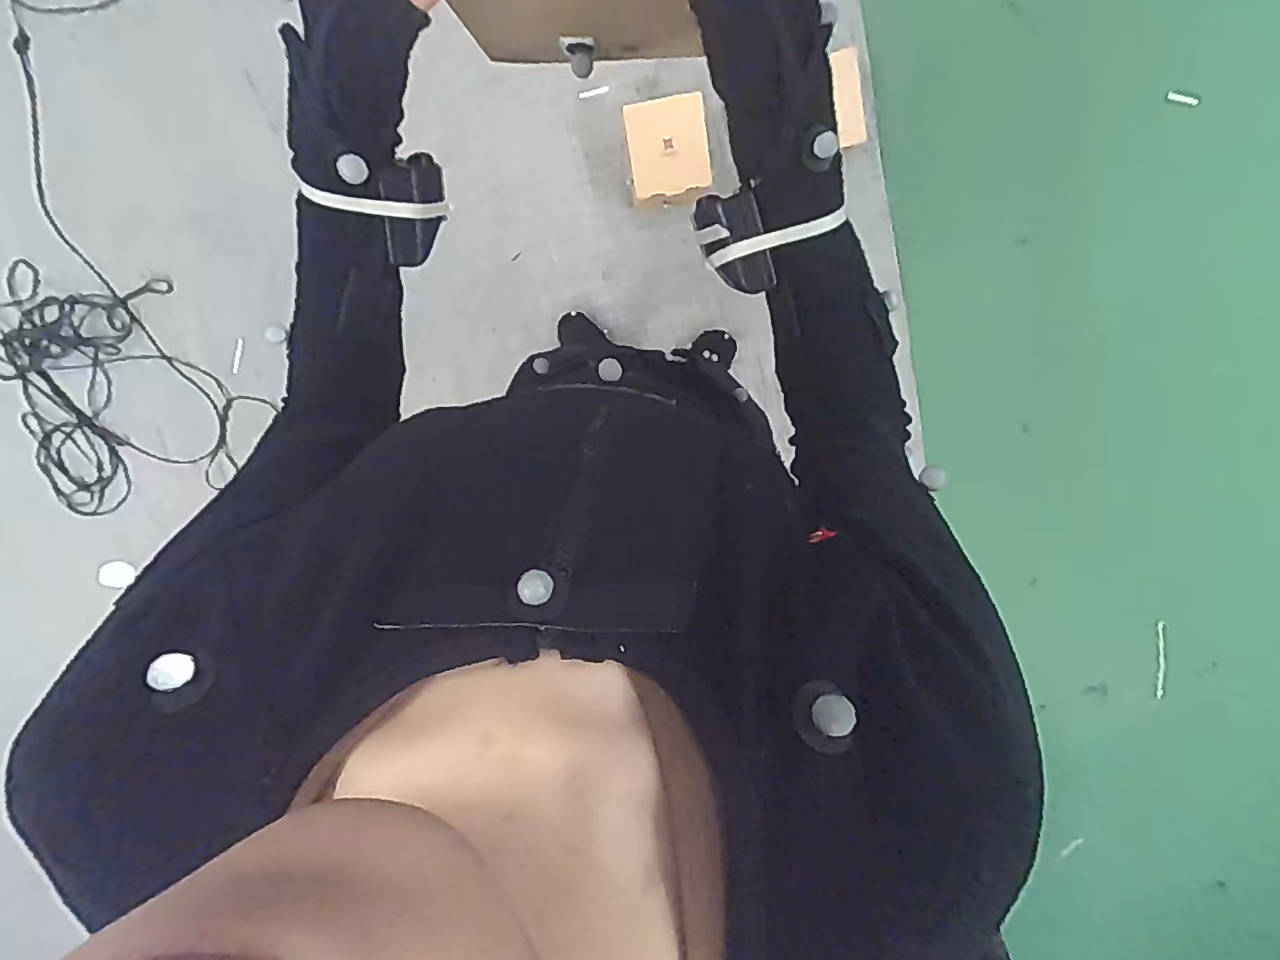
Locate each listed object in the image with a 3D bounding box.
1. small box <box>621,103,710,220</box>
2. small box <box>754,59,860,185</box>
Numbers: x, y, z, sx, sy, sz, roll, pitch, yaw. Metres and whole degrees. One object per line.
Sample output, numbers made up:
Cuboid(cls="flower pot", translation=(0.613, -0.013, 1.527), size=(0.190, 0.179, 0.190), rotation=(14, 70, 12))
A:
Cuboid(cls="small box", translation=(0.052, -0.699, 1.203), size=(0.168, 0.176, 0.179), rotation=(-11, 108, 1))
Cuboid(cls="small box", translation=(0.362, -0.772, 1.190), size=(0.168, 0.176, 0.179), rotation=(-15, 107, 3))
